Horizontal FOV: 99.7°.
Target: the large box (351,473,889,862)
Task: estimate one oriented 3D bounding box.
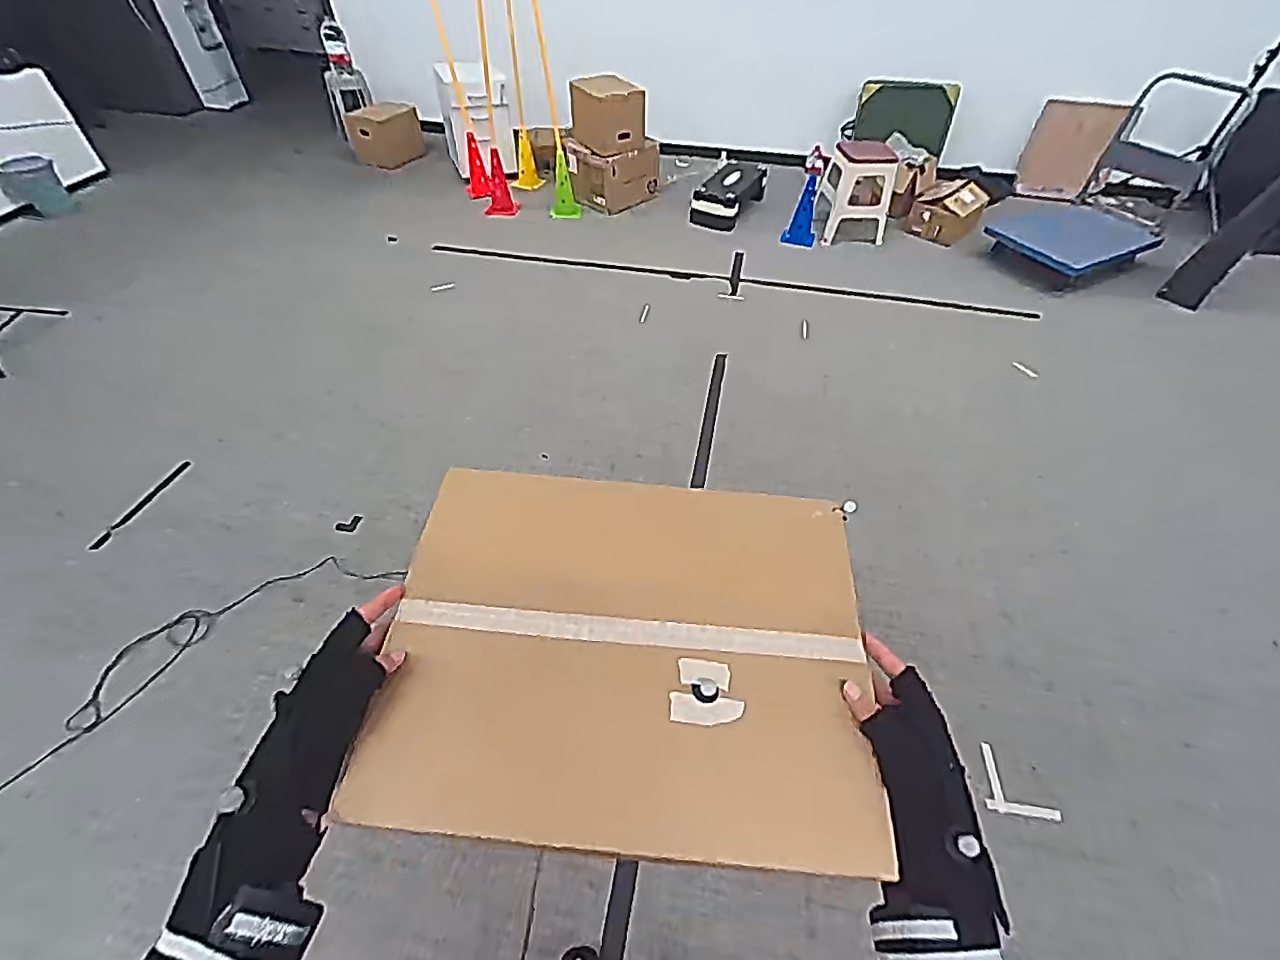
[{"bbox_3d":[-0.012,0.218,0.597,0.408,0.320,0.320,5,56,1],"label":"large box"}]
